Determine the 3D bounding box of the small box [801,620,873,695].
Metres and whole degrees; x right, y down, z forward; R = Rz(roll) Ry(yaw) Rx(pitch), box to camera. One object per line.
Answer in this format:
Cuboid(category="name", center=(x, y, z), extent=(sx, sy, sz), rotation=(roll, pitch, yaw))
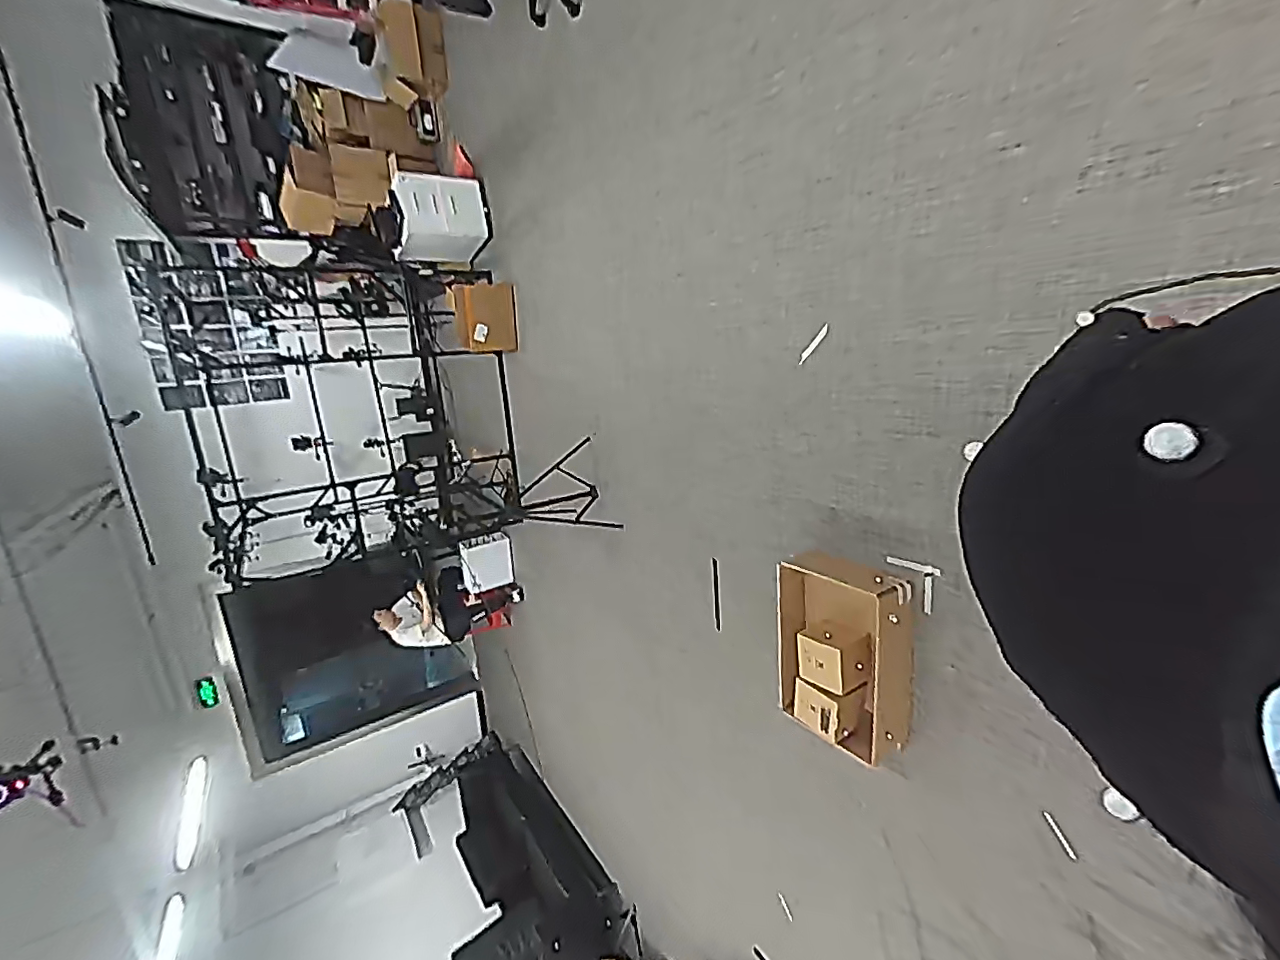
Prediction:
Cuboid(category="small box", center=(0.677, 0.598, 1.847), extent=(0.179, 0.176, 0.168), rotation=(8, 107, 56))
